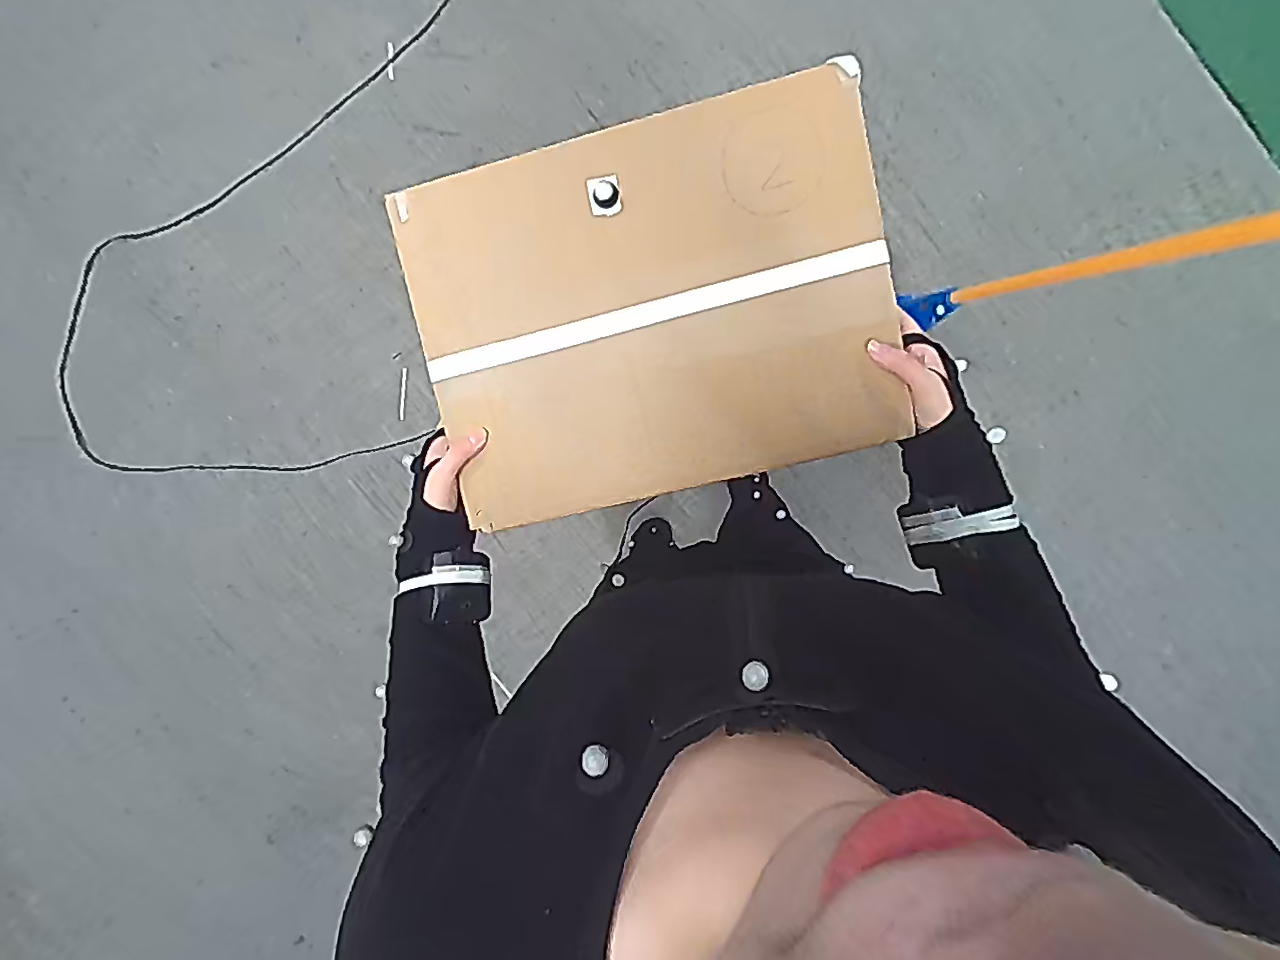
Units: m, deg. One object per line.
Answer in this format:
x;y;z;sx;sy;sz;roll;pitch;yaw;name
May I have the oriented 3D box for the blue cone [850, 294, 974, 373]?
0.658;-0.380;1.279;0.193;0.380;0.192;-6;93;0;blue cone
